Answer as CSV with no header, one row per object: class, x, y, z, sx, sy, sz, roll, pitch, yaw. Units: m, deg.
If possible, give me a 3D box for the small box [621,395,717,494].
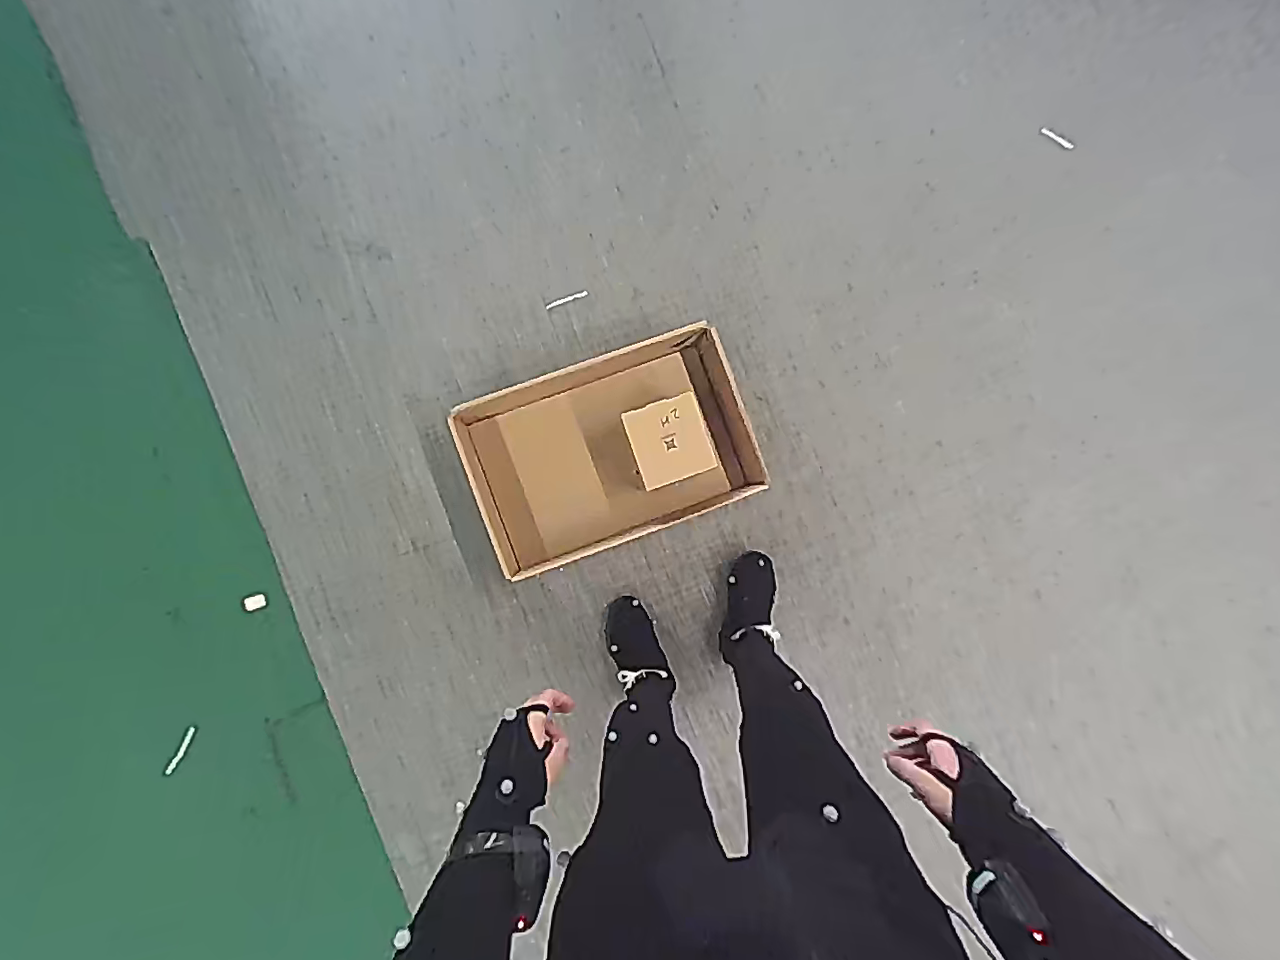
small box,0.060,-0.075,1.231,0.168,0.176,0.179,-18,89,-5
